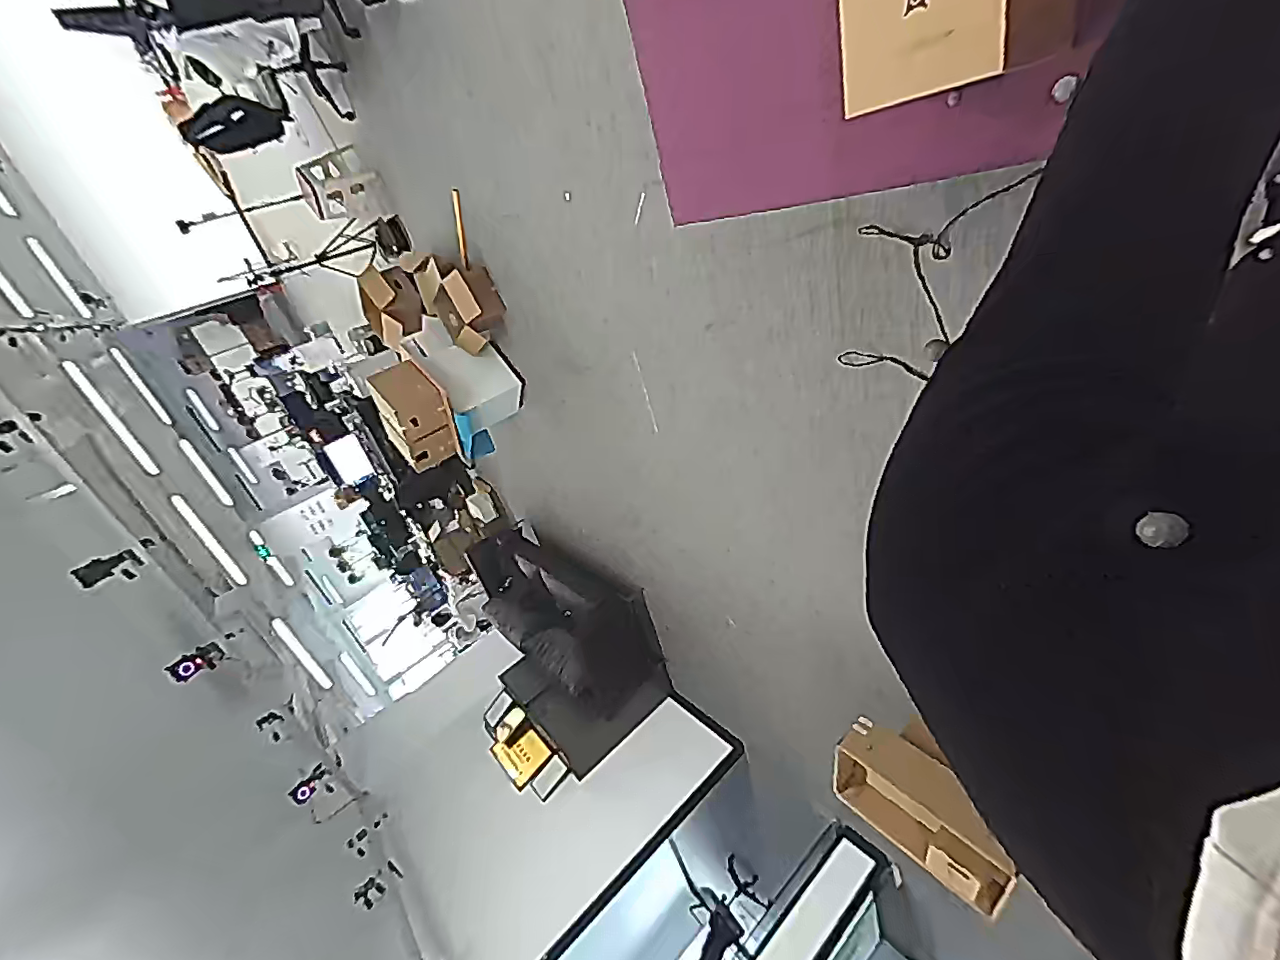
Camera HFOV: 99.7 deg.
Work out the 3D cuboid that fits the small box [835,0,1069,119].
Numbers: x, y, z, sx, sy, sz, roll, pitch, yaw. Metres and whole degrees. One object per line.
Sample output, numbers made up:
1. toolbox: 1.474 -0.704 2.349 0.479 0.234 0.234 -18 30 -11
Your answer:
1. small box: 0.321 -0.501 0.556 0.168 0.176 0.179 22 136 48
